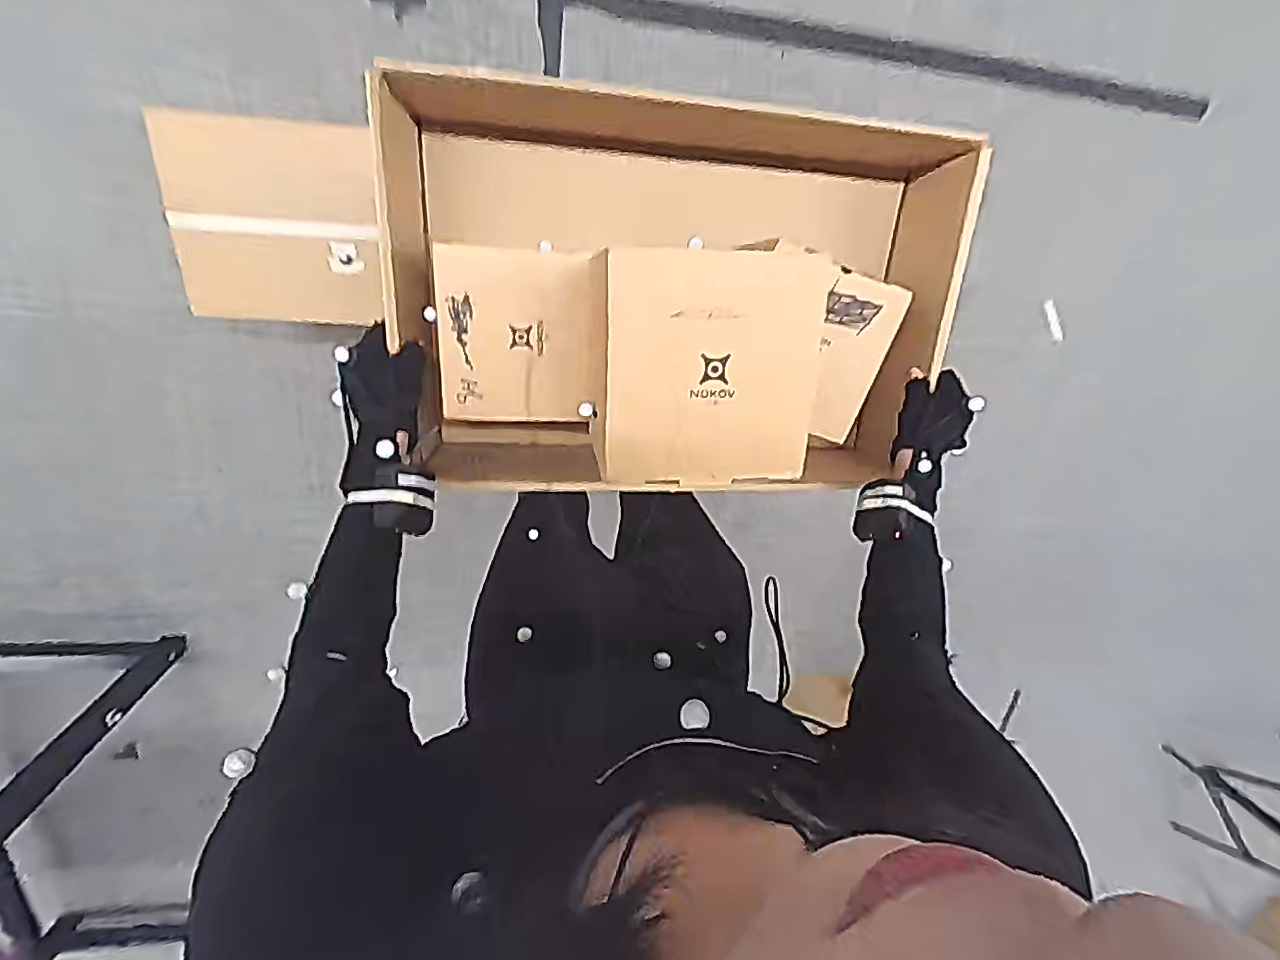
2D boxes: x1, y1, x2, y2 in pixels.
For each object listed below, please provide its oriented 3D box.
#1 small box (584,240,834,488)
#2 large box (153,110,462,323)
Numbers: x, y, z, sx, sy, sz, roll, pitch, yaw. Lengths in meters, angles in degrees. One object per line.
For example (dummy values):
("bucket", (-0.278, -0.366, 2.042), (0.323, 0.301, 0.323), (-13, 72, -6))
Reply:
("small box", (0.041, -0.104, 0.467), (0.168, 0.176, 0.179), (-2, 109, -9))
("large box", (-0.585, -0.483, 1.050), (0.408, 0.320, 0.320), (0, 112, -9))
